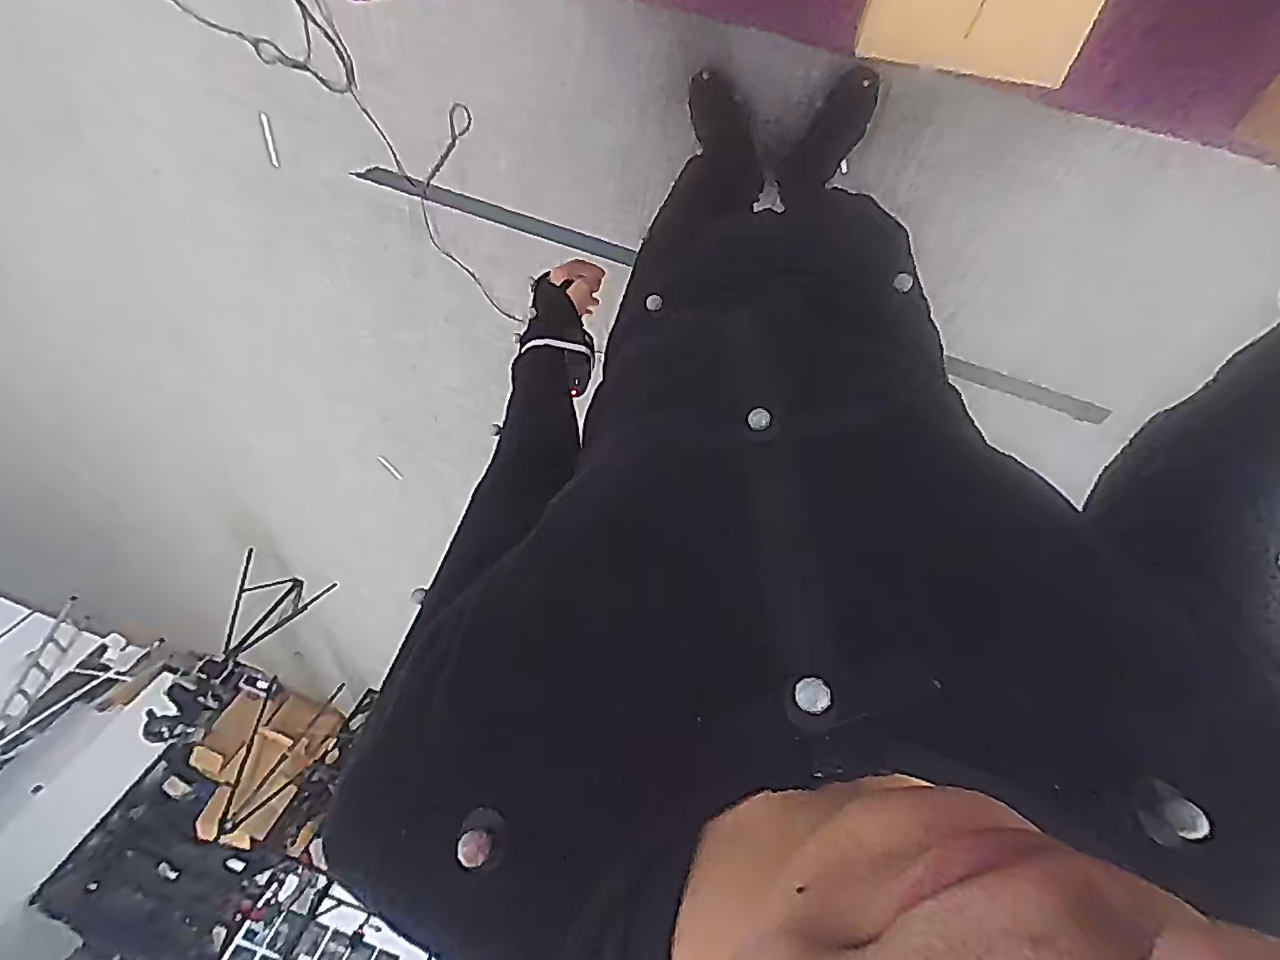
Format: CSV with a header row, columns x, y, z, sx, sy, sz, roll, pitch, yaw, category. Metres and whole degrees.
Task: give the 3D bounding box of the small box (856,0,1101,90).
x,y,z,sx,sy,sz,roll,pitch,yaw,category
0.288,-0.450,0.443,0.168,0.176,0.179,16,135,8,small box
